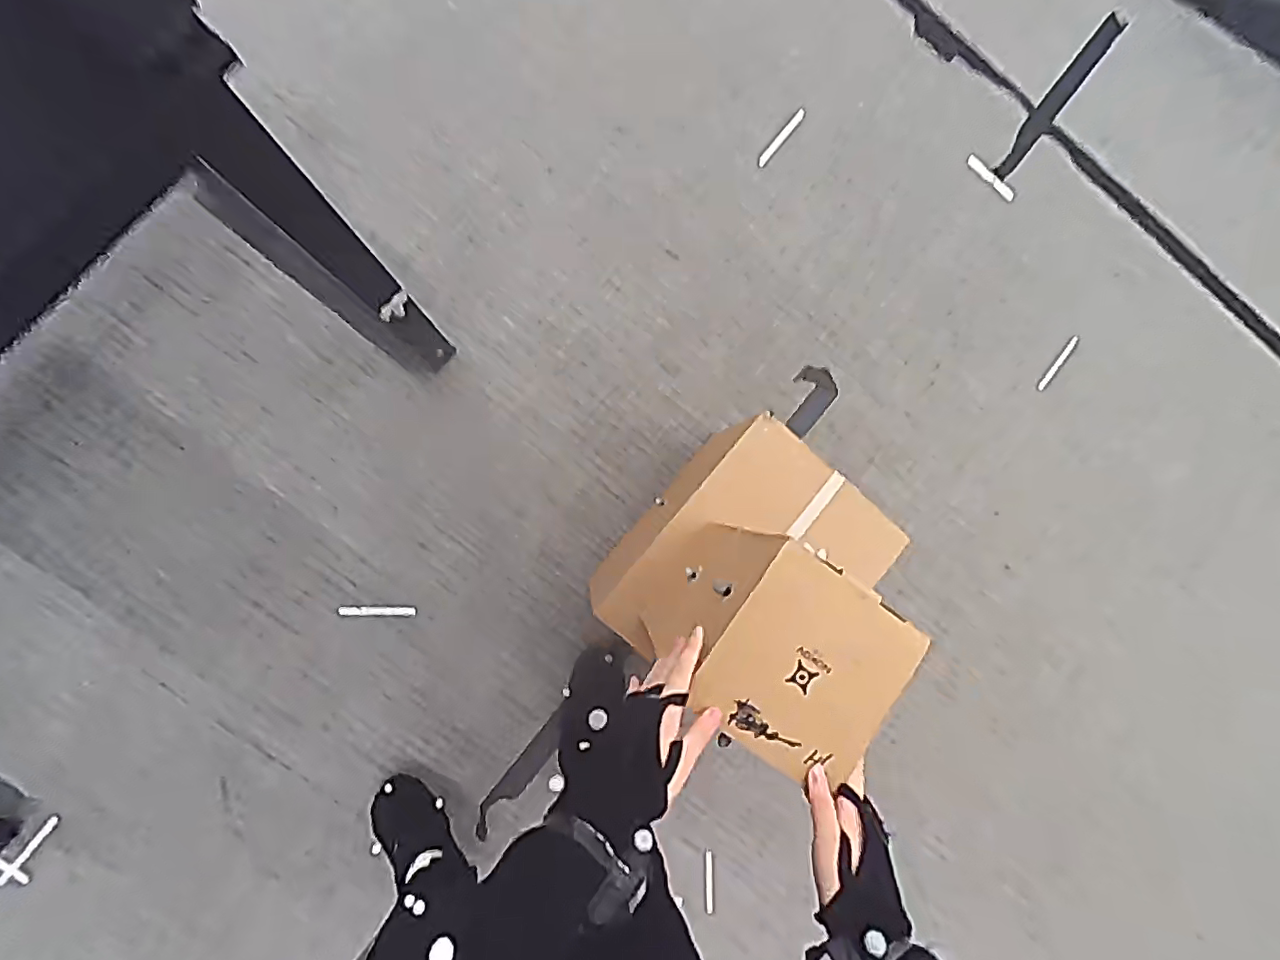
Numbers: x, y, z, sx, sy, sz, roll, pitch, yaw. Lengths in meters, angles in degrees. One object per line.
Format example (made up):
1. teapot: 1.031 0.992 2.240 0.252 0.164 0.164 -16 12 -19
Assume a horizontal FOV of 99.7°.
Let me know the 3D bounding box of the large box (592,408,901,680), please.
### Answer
1. large box: 0.156 0.144 0.966 0.320 0.320 0.408 41 83 -5

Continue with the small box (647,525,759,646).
1. small box: 0.124 0.172 0.715 0.168 0.176 0.179 40 85 -2

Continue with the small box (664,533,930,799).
1. small box: 0.140 0.166 0.553 0.168 0.176 0.179 36 84 -2
